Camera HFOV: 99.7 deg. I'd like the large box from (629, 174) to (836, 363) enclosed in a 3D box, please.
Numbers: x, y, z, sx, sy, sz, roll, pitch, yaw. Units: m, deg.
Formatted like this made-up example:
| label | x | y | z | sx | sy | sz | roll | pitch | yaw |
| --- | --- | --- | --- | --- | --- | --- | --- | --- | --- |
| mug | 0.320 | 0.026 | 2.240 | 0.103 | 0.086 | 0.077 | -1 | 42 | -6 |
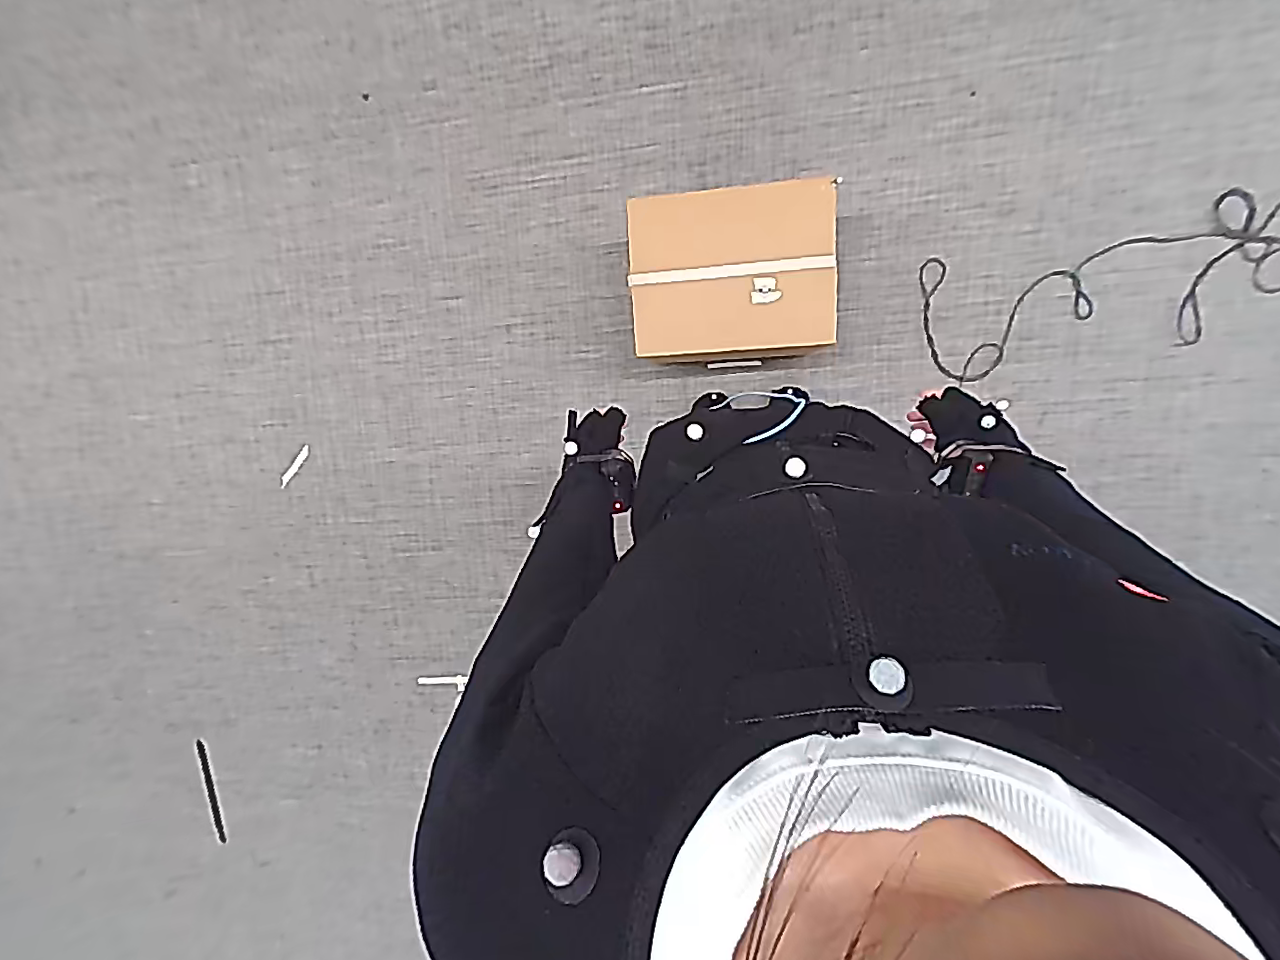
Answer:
| label | x | y | z | sx | sy | sz | roll | pitch | yaw |
| --- | --- | --- | --- | --- | --- | --- | --- | --- | --- |
| large box | 0.201 | -0.445 | 1.224 | 0.408 | 0.320 | 0.320 | -2 | 100 | 8 |
